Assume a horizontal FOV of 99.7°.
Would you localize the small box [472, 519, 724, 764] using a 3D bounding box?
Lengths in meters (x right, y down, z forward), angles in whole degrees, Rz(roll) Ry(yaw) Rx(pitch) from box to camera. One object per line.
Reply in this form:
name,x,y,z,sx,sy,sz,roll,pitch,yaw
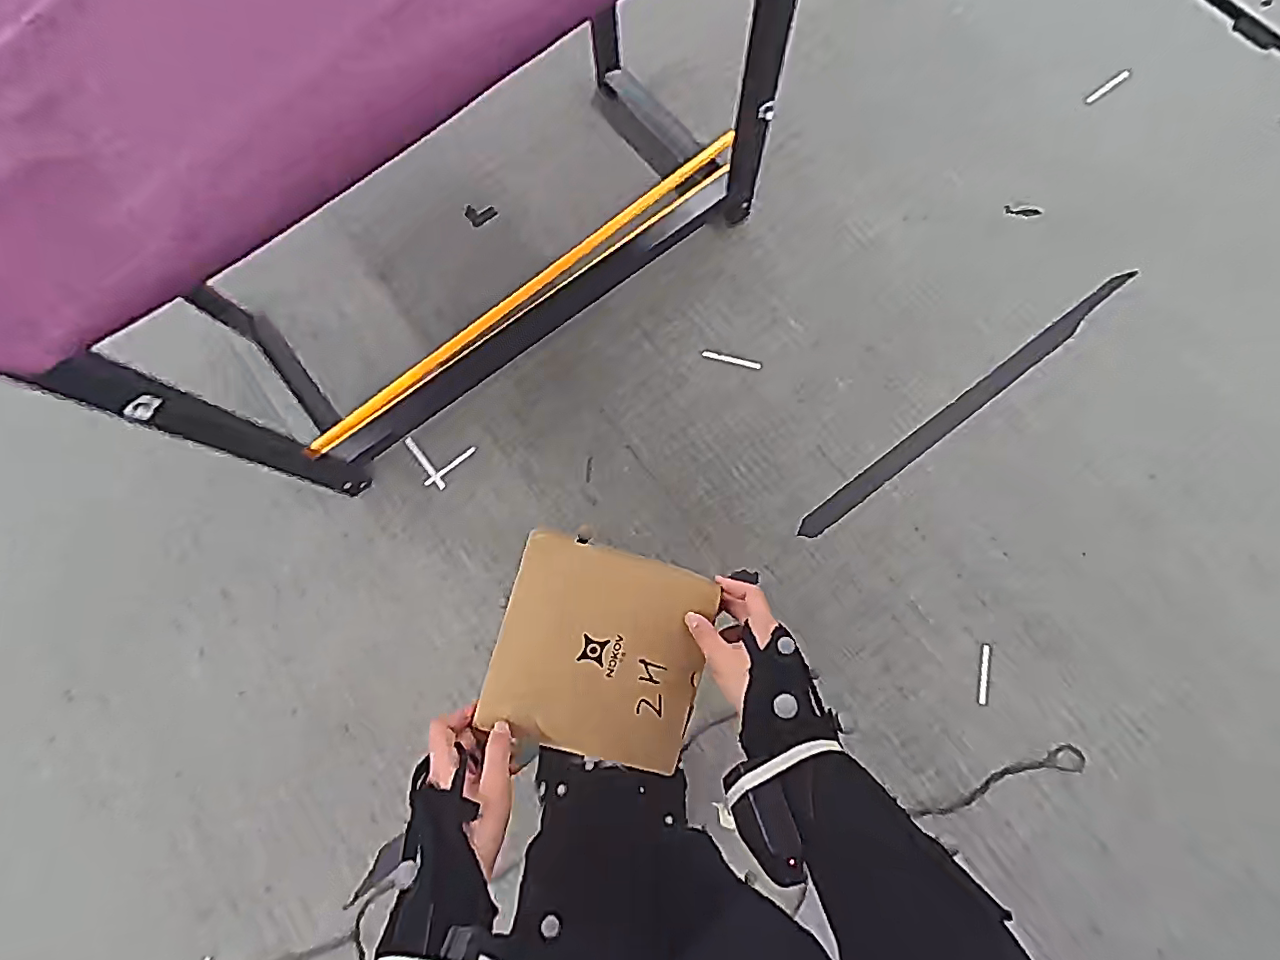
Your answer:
small box,-0.042,0.142,0.533,0.179,0.176,0.168,18,85,-7
